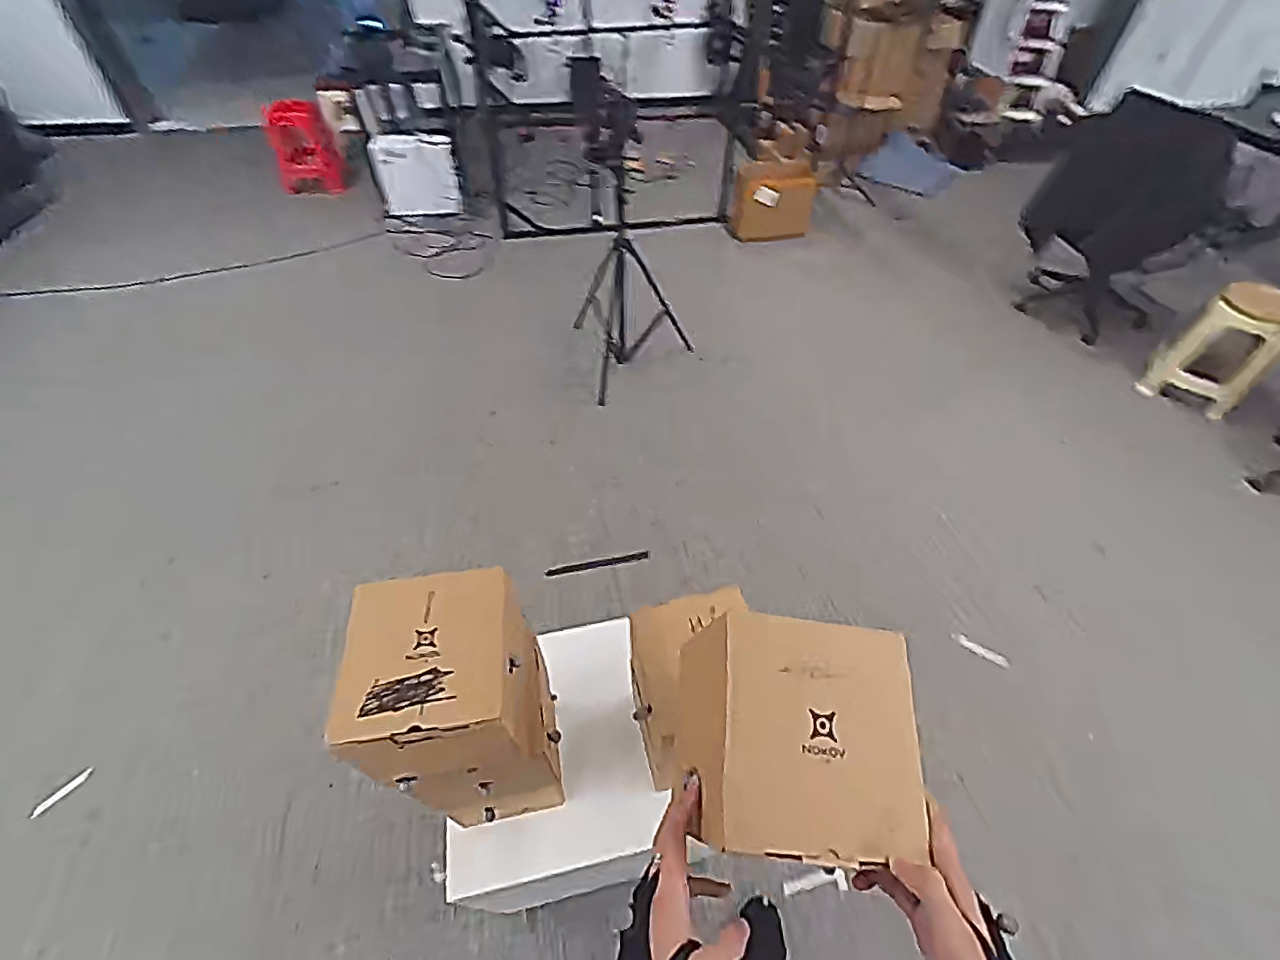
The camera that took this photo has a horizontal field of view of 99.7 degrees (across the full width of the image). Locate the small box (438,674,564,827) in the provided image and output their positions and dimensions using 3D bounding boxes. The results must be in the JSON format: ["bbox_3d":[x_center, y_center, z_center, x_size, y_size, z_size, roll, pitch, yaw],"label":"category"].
[{"bbox_3d":[-0.218,0.440,0.872,0.168,0.176,0.179,-8,50,-8],"label":"small box"}]

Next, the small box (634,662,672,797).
[{"bbox_3d":[0.086,0.401,0.907,0.168,0.176,0.179,-11,50,-9],"label":"small box"}]

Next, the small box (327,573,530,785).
[{"bbox_3d":[-0.220,0.232,0.618,0.168,0.176,0.179,-6,49,-6],"label":"small box"}]

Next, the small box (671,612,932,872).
[{"bbox_3d":[0.129,0.236,0.498,0.168,0.176,0.179,9,61,-8],"label":"small box"}]

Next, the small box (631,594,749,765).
[{"bbox_3d":[0.087,0.294,0.782,0.168,0.176,0.179,-11,50,-8],"label":"small box"}]
